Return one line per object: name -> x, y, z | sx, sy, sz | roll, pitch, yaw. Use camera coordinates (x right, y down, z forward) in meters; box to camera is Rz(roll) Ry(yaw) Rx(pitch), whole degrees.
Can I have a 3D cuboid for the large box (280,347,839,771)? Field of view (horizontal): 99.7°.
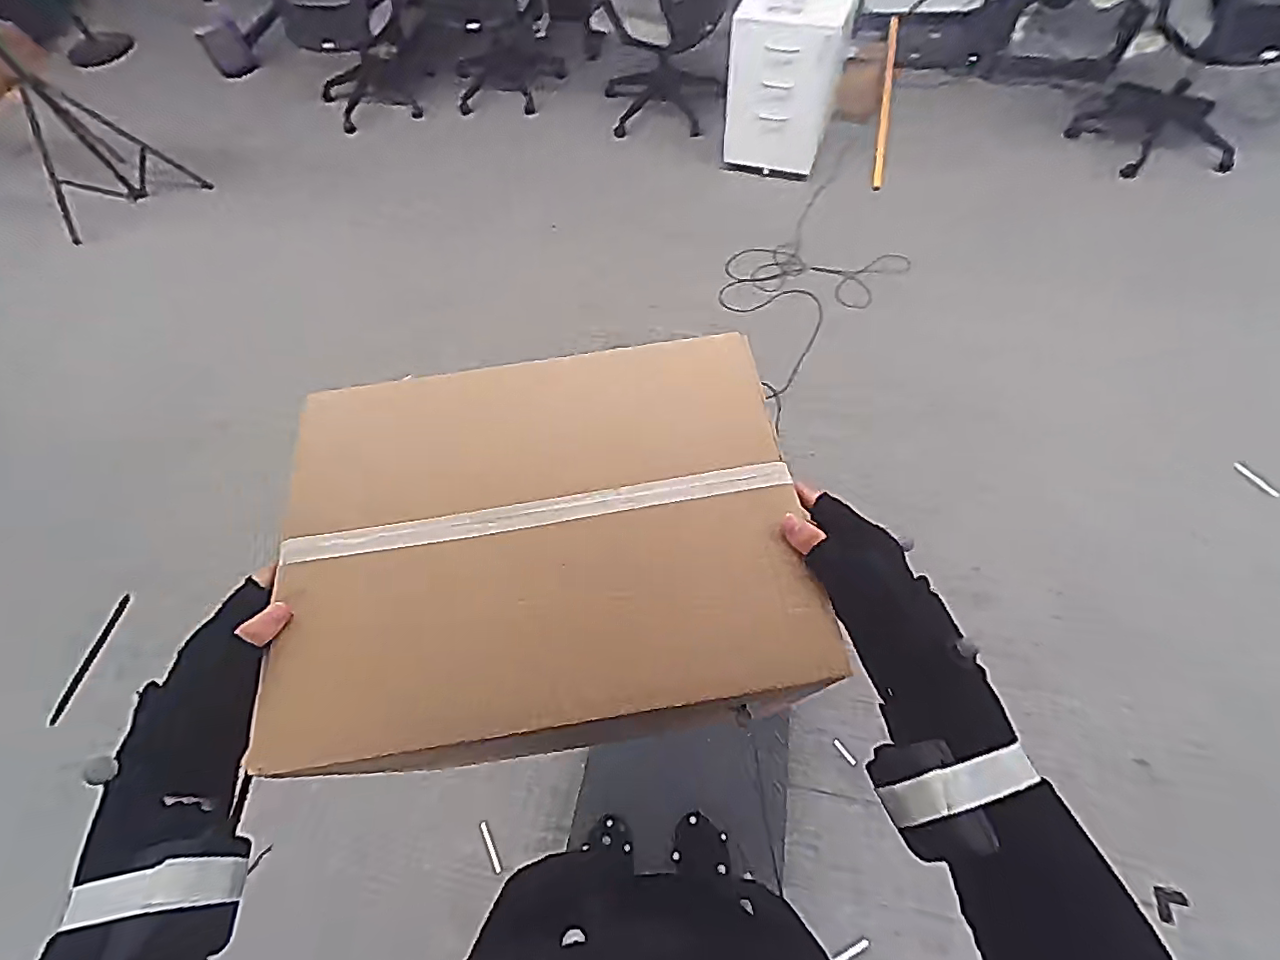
large box -> -0.066, 0.102, 0.575 | 0.408, 0.320, 0.320 | -8, 62, -1
